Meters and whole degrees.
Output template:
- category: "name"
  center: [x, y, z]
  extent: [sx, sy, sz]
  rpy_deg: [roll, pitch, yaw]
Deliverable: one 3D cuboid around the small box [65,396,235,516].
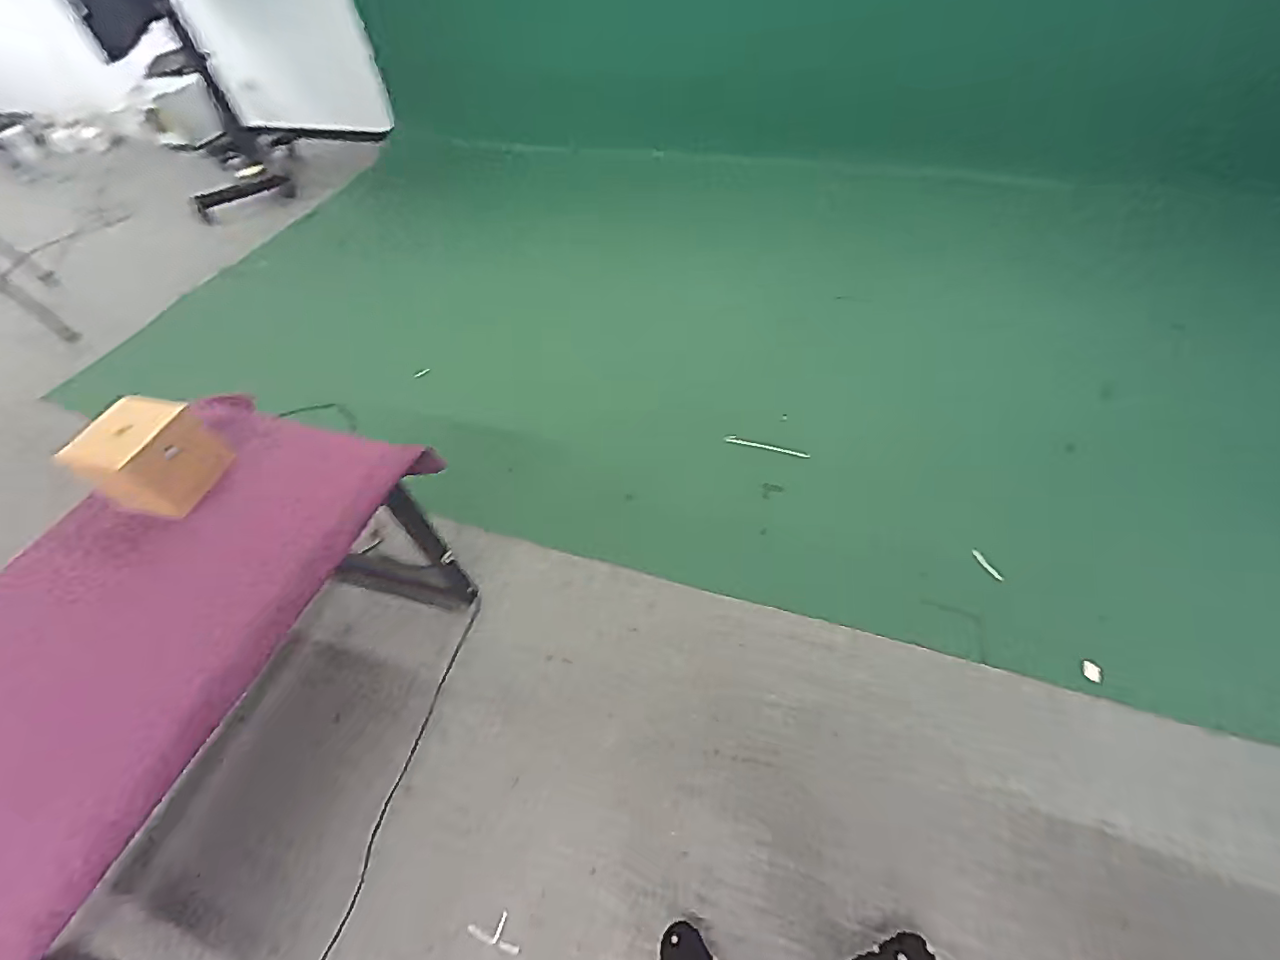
- category: "small box"
  center: [-1.018, -0.050, 1.149]
  extent: [0.168, 0.176, 0.179]
  rpy_deg: [8, 55, 11]
